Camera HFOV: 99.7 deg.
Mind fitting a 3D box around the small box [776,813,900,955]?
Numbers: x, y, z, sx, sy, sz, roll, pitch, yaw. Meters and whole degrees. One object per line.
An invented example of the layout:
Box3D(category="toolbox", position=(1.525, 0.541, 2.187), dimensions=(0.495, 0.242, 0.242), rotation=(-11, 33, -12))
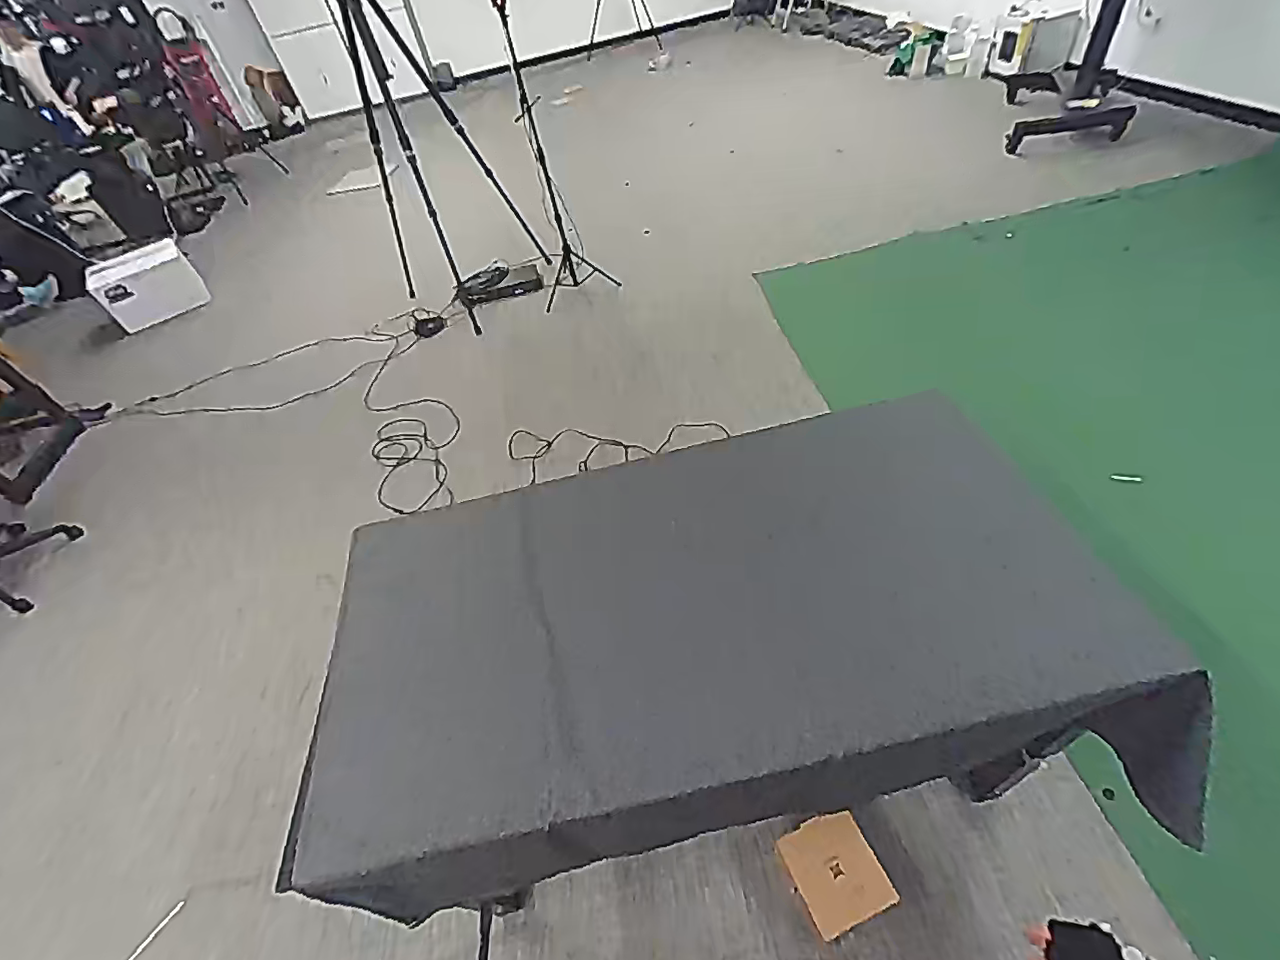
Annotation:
Box3D(category="small box", position=(0.390, 0.825, 1.102), dimensions=(0.168, 0.176, 0.179), rotation=(-22, 46, -8))
